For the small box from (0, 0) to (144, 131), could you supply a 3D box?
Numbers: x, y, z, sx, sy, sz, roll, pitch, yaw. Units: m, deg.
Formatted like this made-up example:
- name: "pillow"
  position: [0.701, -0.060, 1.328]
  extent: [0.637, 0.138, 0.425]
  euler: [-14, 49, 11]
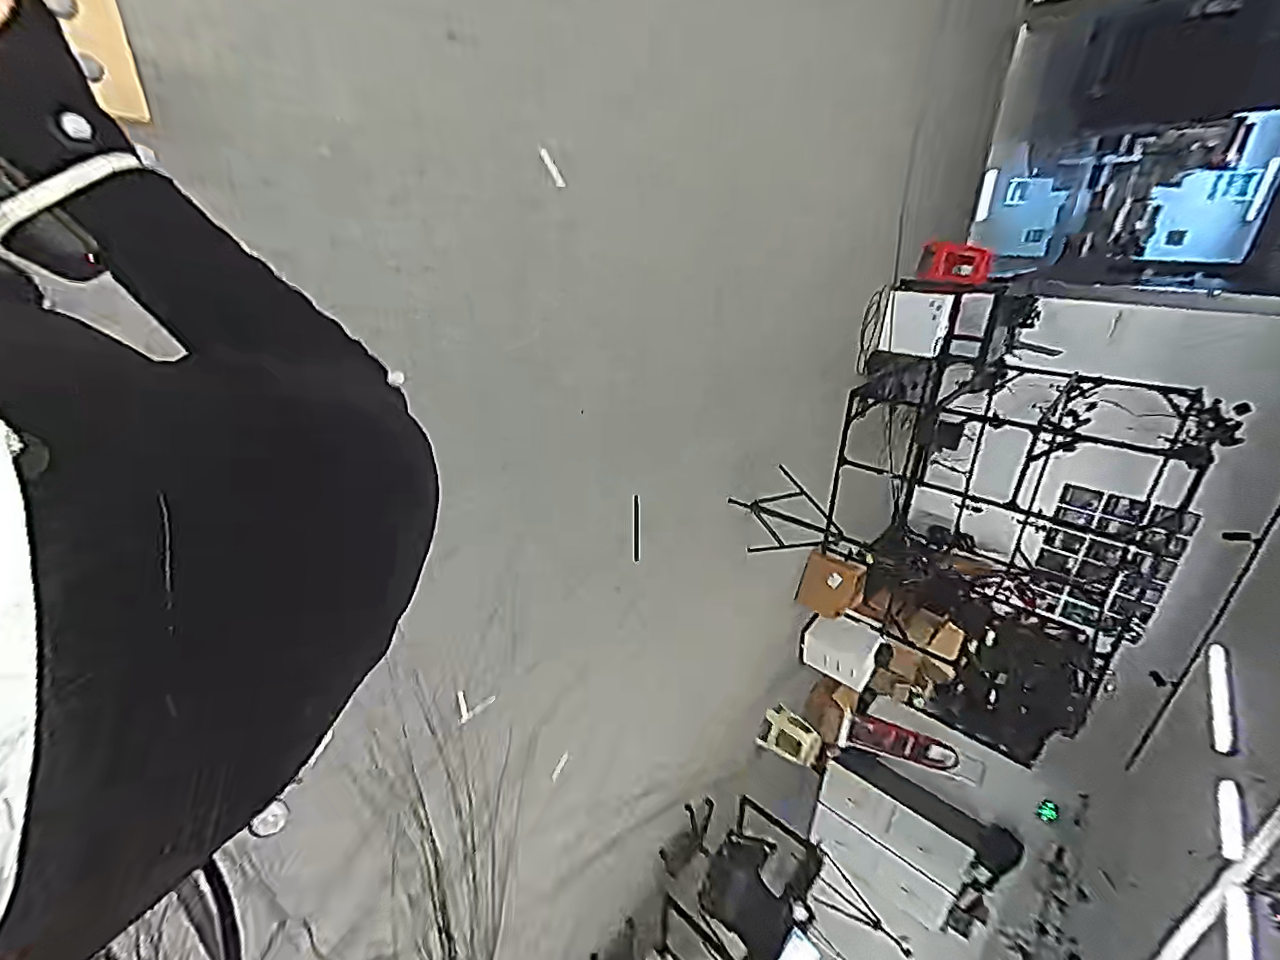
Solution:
- name: "small box"
  position: [-0.850, -0.611, 0.767]
  extent: [0.168, 0.176, 0.179]
  euler: [-24, 125, -43]
